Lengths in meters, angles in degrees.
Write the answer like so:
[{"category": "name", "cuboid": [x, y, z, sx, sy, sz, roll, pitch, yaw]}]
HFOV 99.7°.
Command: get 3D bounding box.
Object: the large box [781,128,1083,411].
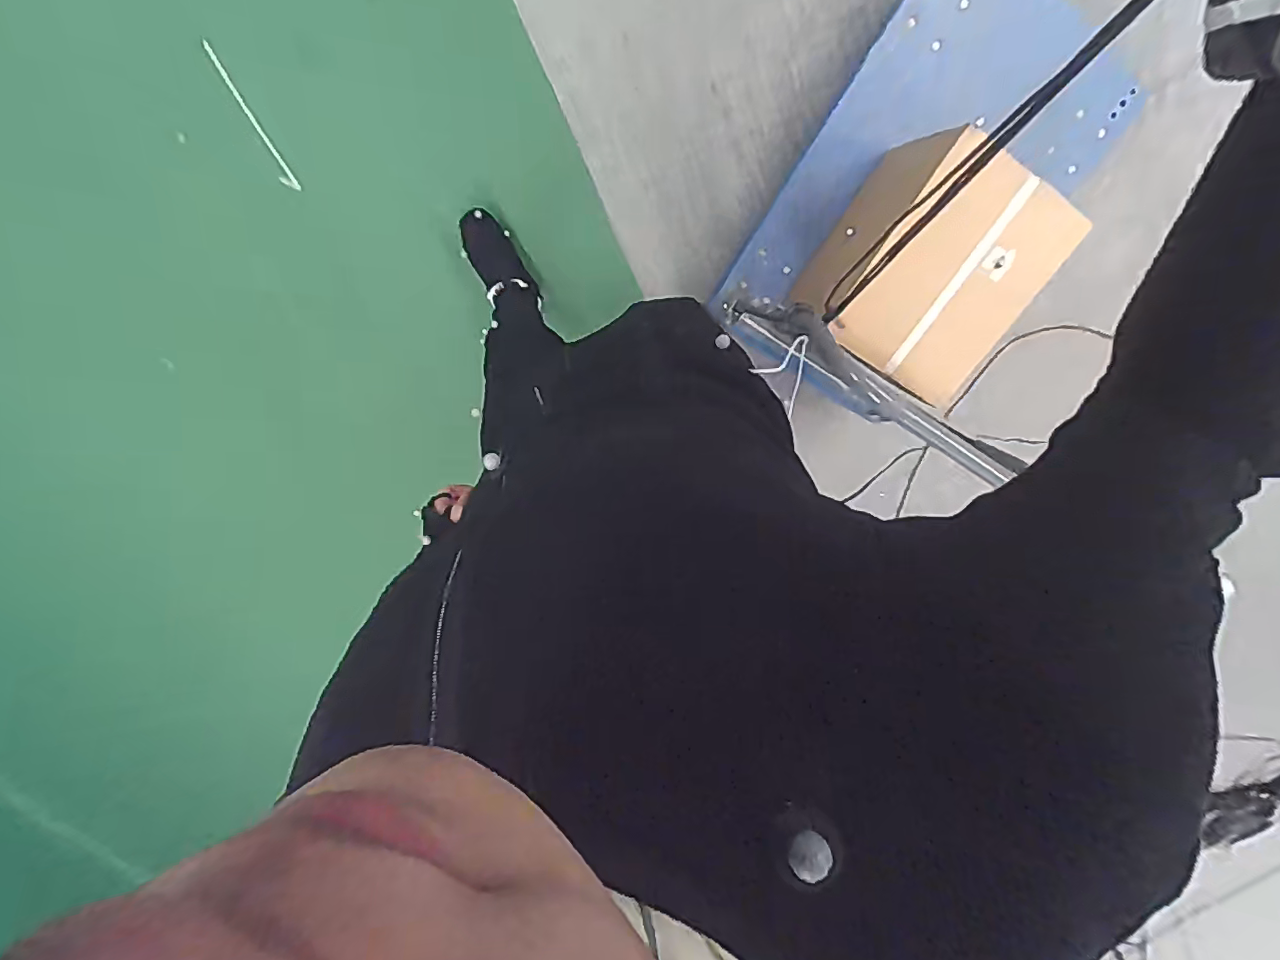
[{"category": "large box", "cuboid": [0.567, -0.422, 1.139, 0.320, 0.320, 0.408, 28, 110, -14]}]
